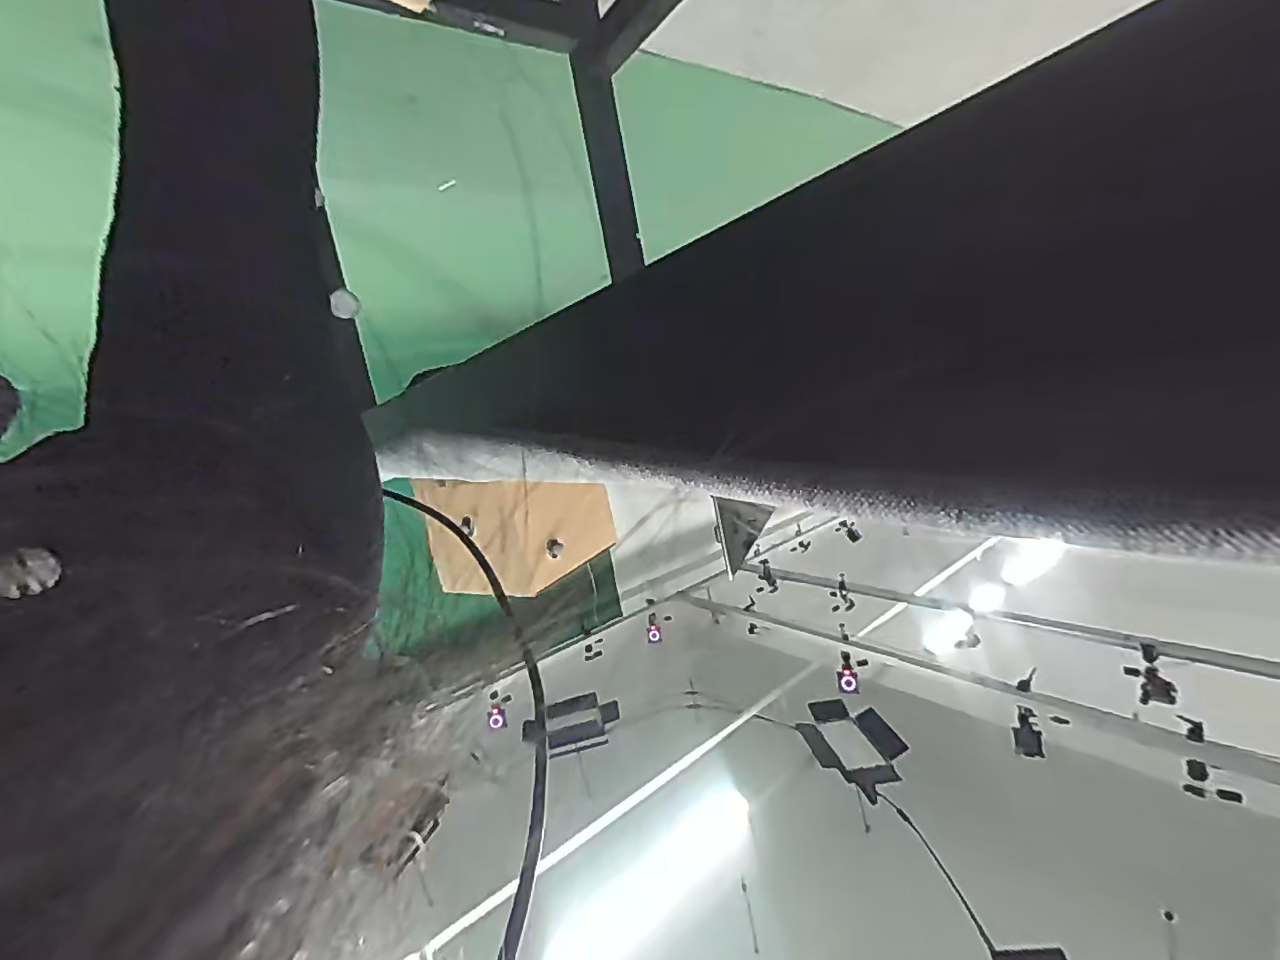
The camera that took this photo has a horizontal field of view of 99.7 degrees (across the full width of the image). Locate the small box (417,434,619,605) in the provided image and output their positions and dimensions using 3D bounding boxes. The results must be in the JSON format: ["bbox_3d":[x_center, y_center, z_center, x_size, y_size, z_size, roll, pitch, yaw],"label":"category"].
[{"bbox_3d":[-0.155,0.047,0.701,0.168,0.176,0.179,-6,-168,34],"label":"small box"}]

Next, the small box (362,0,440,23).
[{"bbox_3d":[-0.291,-0.662,0.580,0.179,0.176,0.168,-2,-168,41],"label":"small box"}]
